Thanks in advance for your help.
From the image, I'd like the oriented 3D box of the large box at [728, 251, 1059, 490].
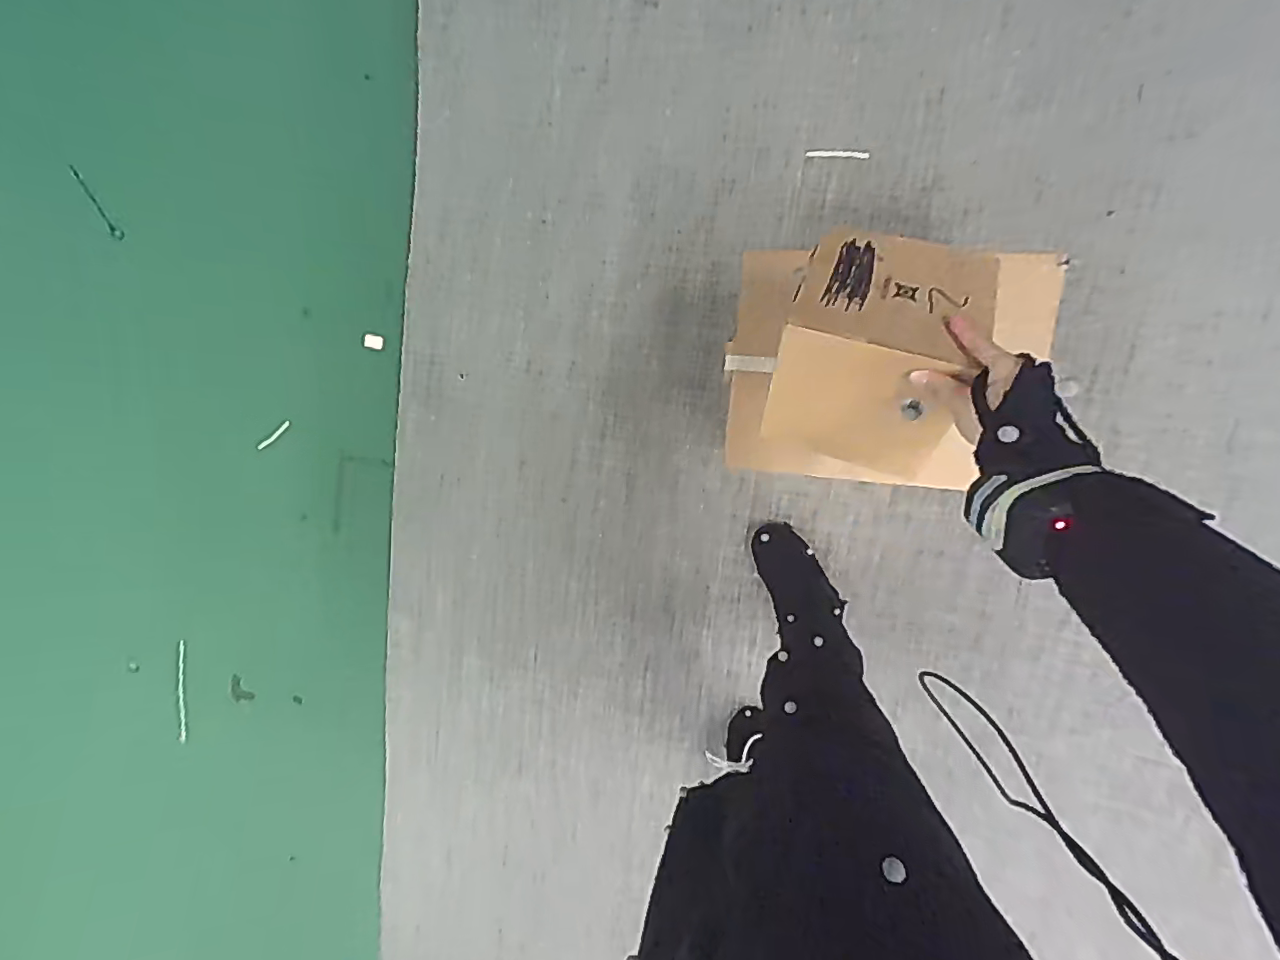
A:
[{"bbox_3d":[0.360,-0.171,0.889,0.408,0.320,0.320,6,99,11],"label":"large box"}]
